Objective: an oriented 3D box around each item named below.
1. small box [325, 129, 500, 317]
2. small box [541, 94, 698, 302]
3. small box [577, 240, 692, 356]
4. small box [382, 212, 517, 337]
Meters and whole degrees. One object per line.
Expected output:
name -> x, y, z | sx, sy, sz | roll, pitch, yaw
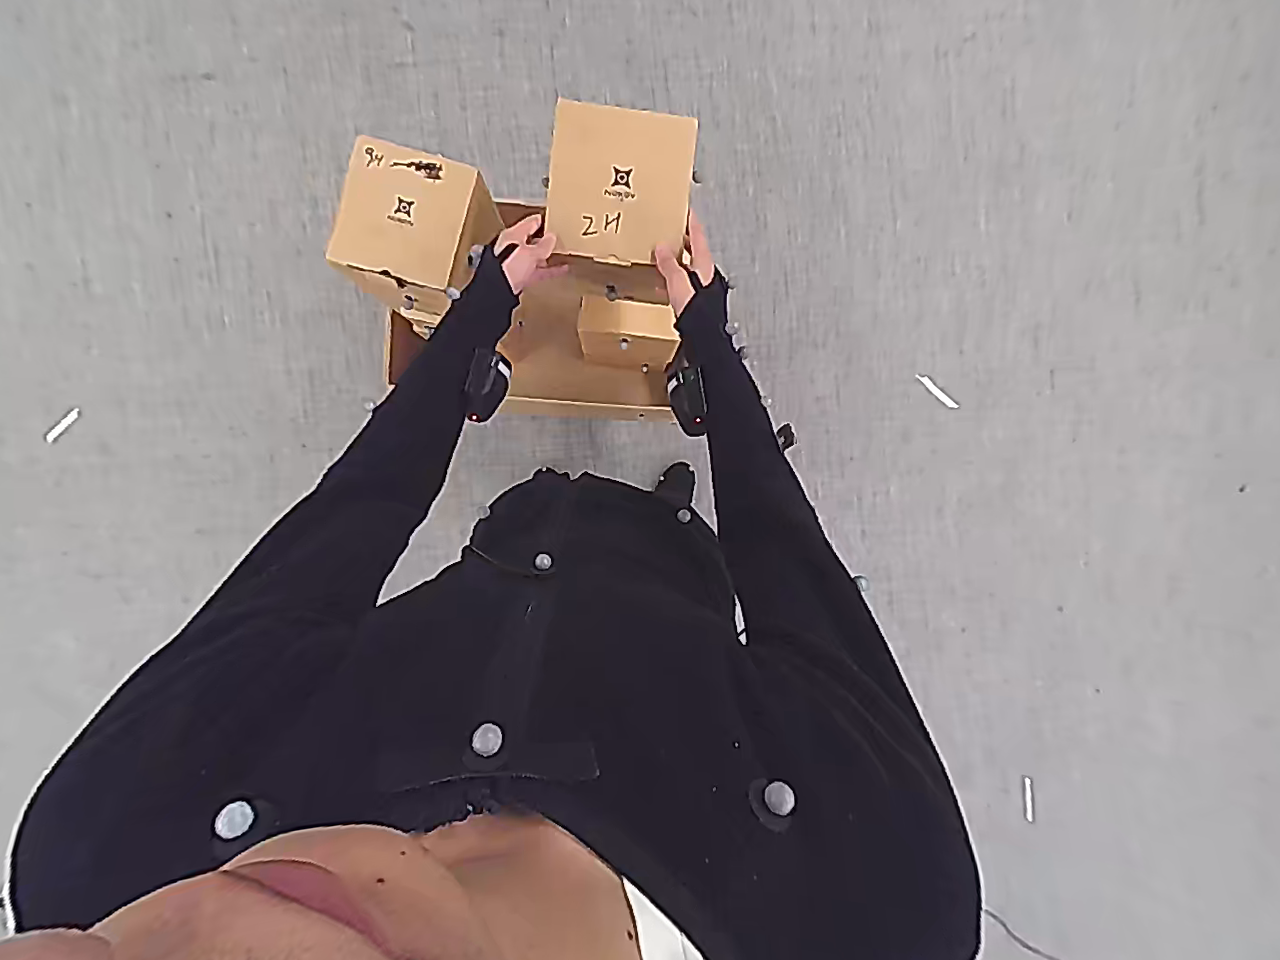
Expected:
small box -> -0.318, -0.359, 0.793 | 0.168, 0.176, 0.179 | 16, 91, -3
small box -> -0.027, -0.350, 0.704 | 0.168, 0.176, 0.179 | 7, 94, -2
small box -> -0.012, -0.327, 0.972 | 0.179, 0.176, 0.168 | 6, 90, -1
small box -> -0.326, -0.368, 0.957 | 0.168, 0.176, 0.179 | 12, 90, -3
